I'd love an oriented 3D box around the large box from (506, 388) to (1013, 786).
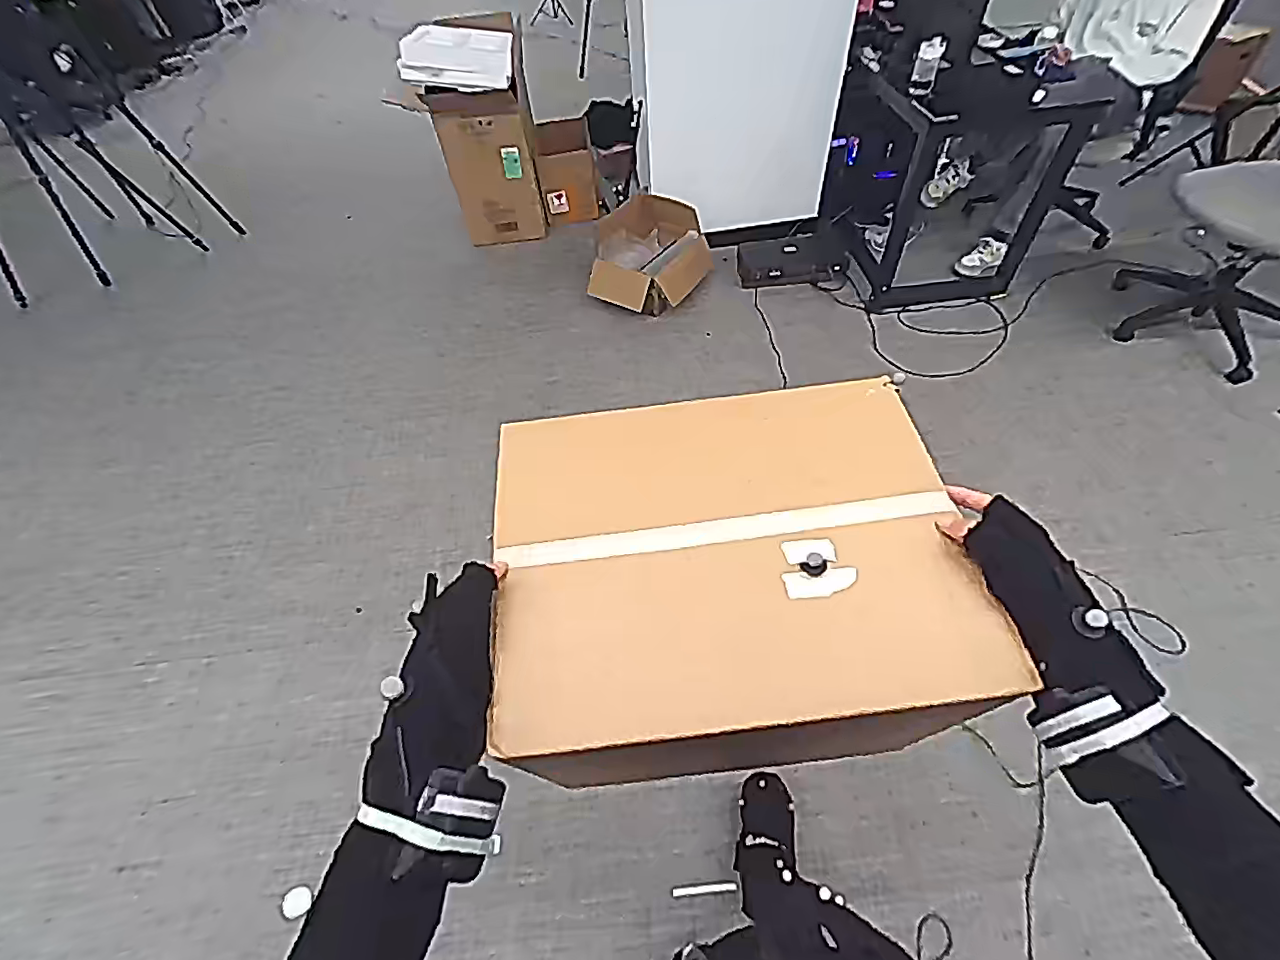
[{"bbox_3d":[0.084,0.134,0.617,0.408,0.320,0.320,-7,56,-1],"label":"large box"}]
